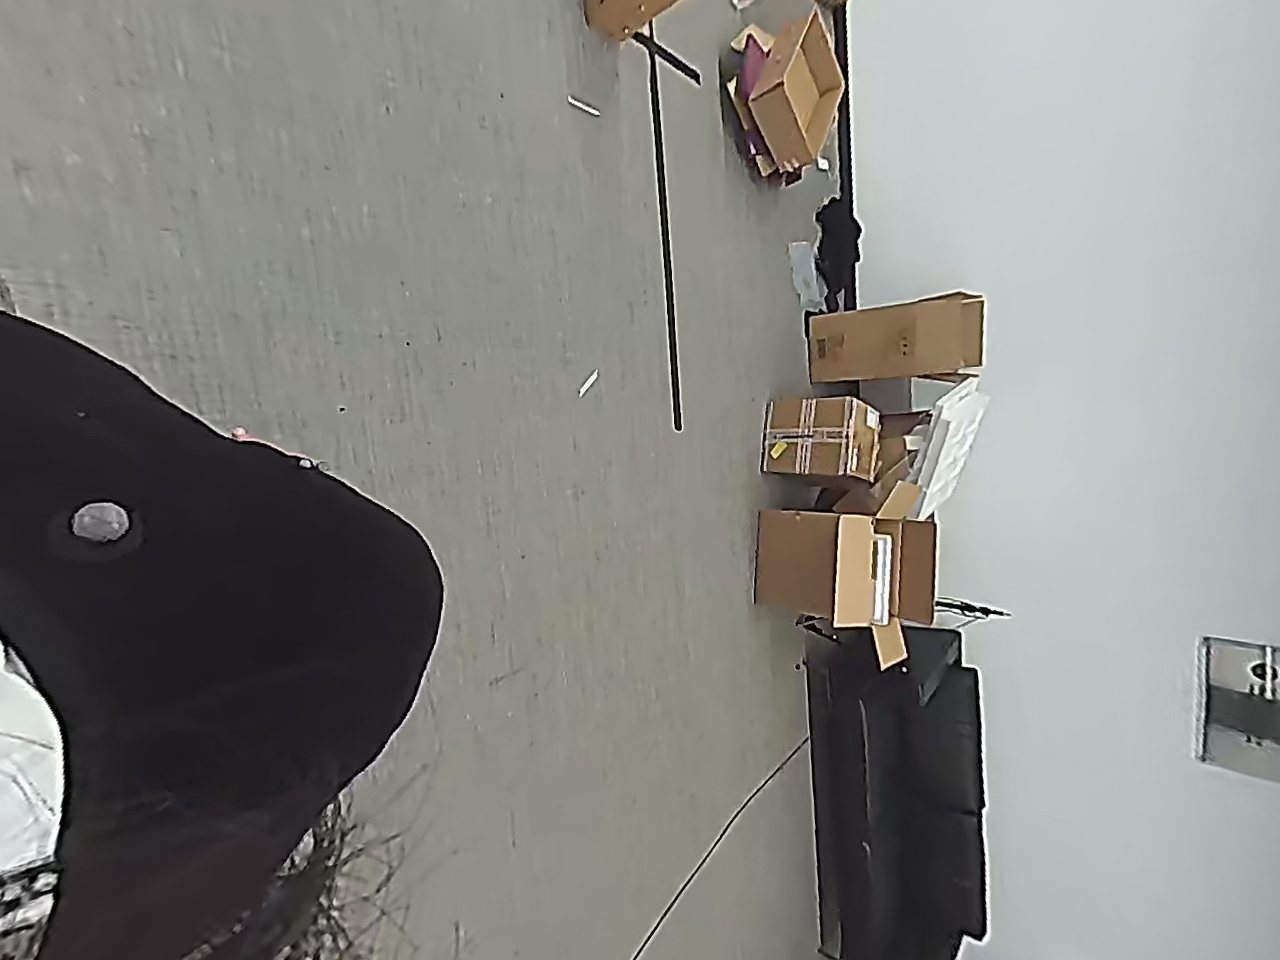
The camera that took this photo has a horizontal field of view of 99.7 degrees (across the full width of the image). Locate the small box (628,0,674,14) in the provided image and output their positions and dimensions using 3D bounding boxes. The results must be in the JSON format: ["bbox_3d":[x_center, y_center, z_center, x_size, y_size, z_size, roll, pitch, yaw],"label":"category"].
[{"bbox_3d":[0.038,-1.767,1.865,0.179,0.176,0.168,-15,102,-46],"label":"small box"}]

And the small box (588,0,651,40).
[{"bbox_3d":[-0.079,-1.773,1.978,0.168,0.176,0.179,-12,99,-46],"label":"small box"}]
